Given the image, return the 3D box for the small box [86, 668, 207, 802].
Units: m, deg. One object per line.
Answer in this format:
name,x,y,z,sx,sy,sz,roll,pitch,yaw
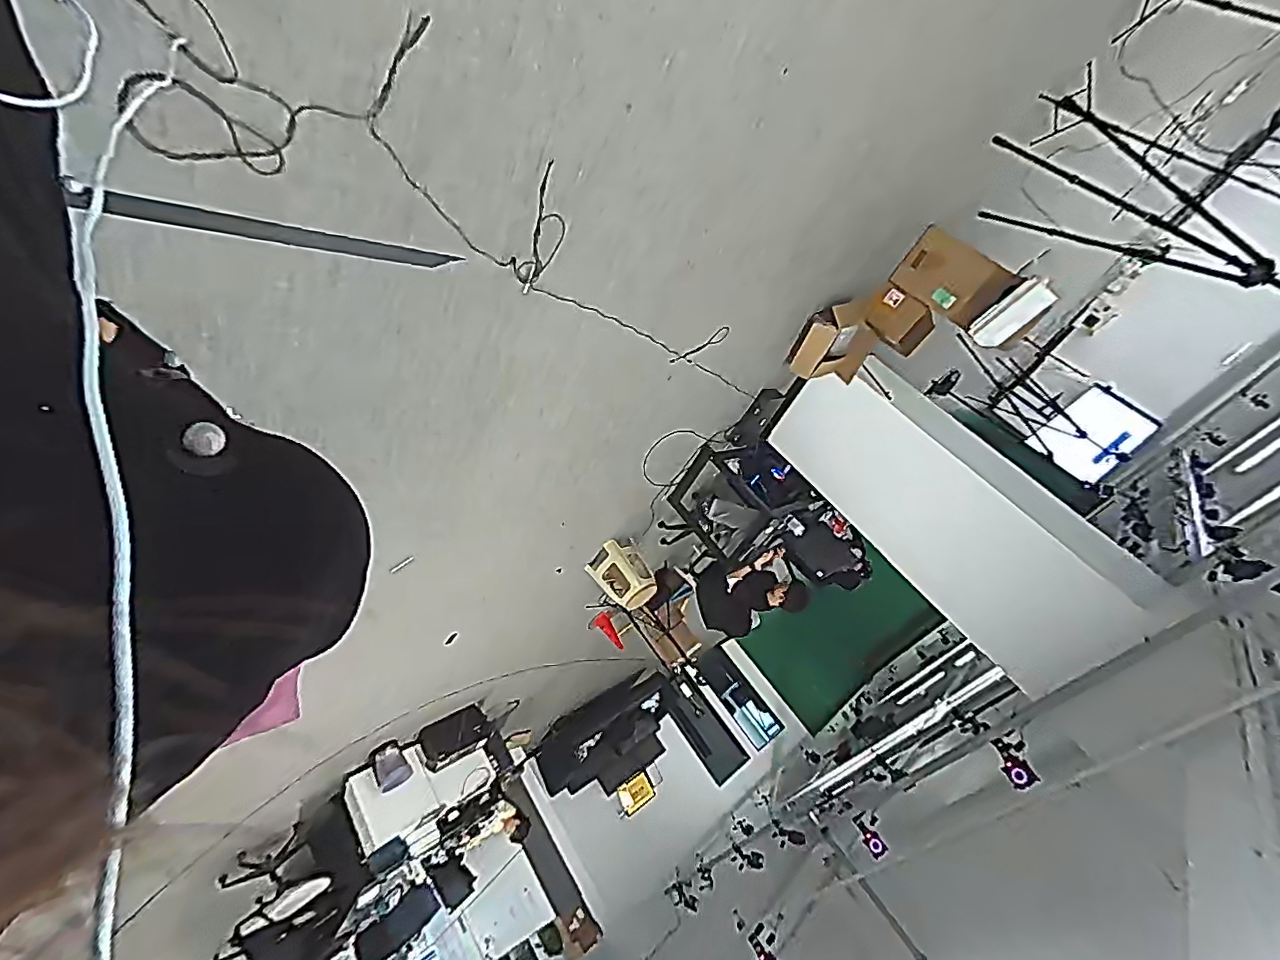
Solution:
small box,-1.067,0.543,1.170,0.179,0.176,0.168,-9,142,-47
